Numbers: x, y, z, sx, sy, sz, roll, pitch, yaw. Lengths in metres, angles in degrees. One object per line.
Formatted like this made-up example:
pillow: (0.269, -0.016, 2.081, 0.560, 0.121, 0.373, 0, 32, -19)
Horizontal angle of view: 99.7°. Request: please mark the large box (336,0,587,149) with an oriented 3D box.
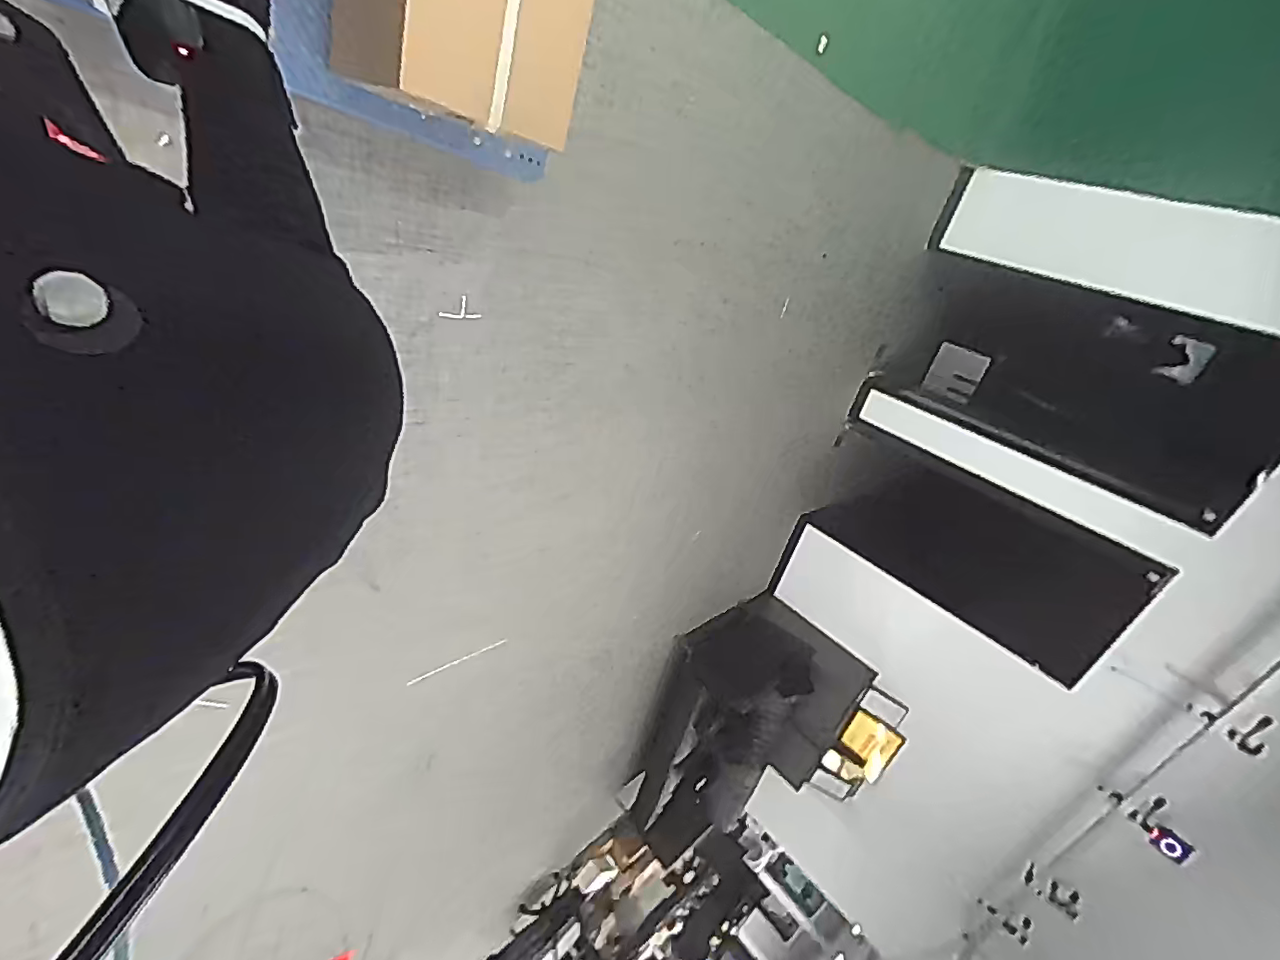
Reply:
large box: (-0.305, -0.849, 0.929, 0.320, 0.320, 0.408, -10, 125, -46)
